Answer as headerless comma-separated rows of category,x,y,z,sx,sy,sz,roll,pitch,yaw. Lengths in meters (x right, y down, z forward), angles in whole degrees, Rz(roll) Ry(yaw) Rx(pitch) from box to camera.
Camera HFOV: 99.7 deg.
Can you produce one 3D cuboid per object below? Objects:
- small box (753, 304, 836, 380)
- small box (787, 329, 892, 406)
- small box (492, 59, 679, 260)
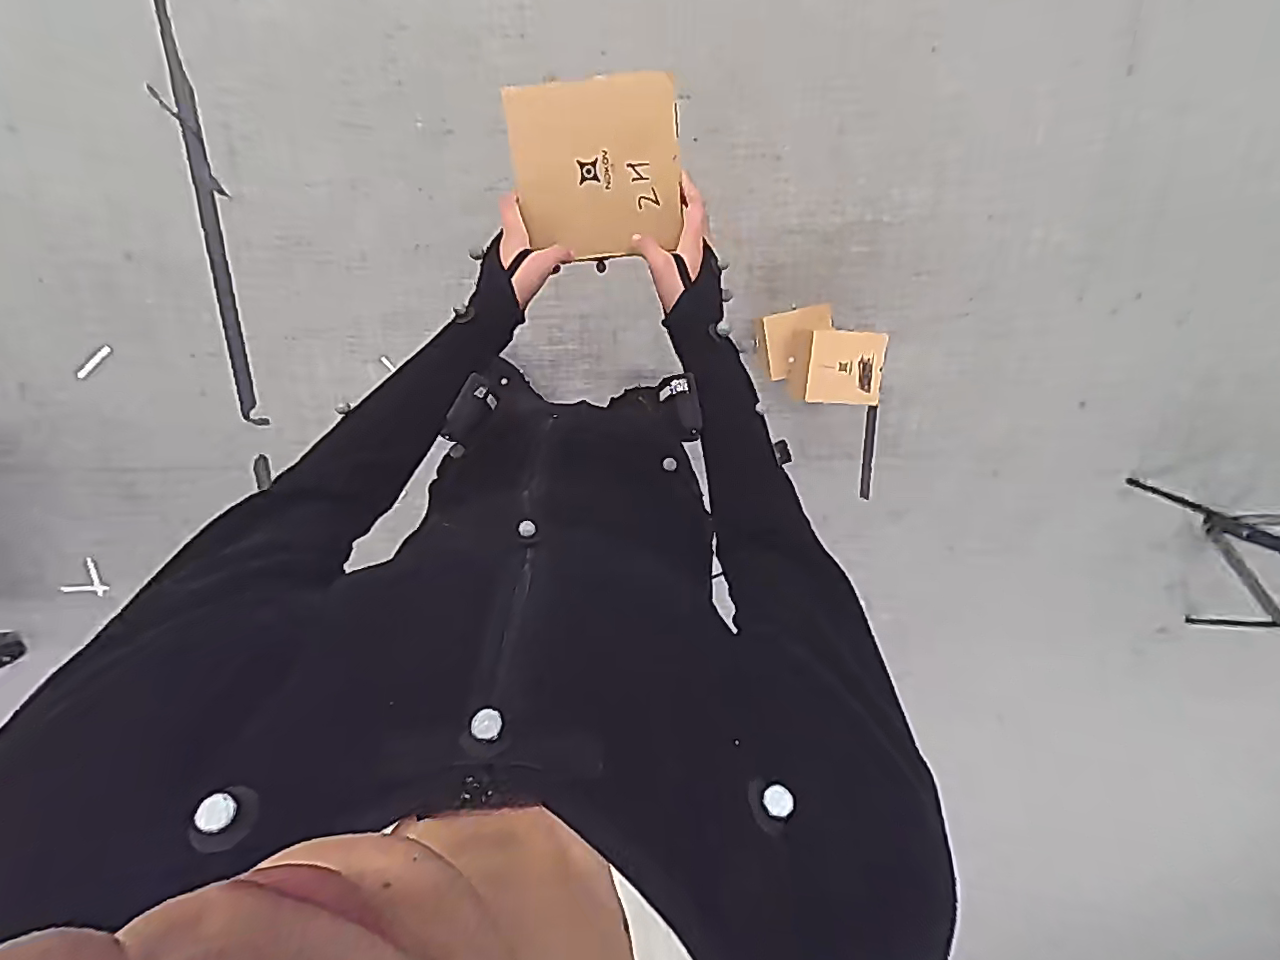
small box,0.414,-0.373,1.451,0.179,0.176,0.168,-11,106,3
small box,0.475,-0.277,1.310,0.179,0.176,0.168,3,105,-1
small box,-0.048,-0.348,0.621,0.179,0.176,0.168,-5,113,4
